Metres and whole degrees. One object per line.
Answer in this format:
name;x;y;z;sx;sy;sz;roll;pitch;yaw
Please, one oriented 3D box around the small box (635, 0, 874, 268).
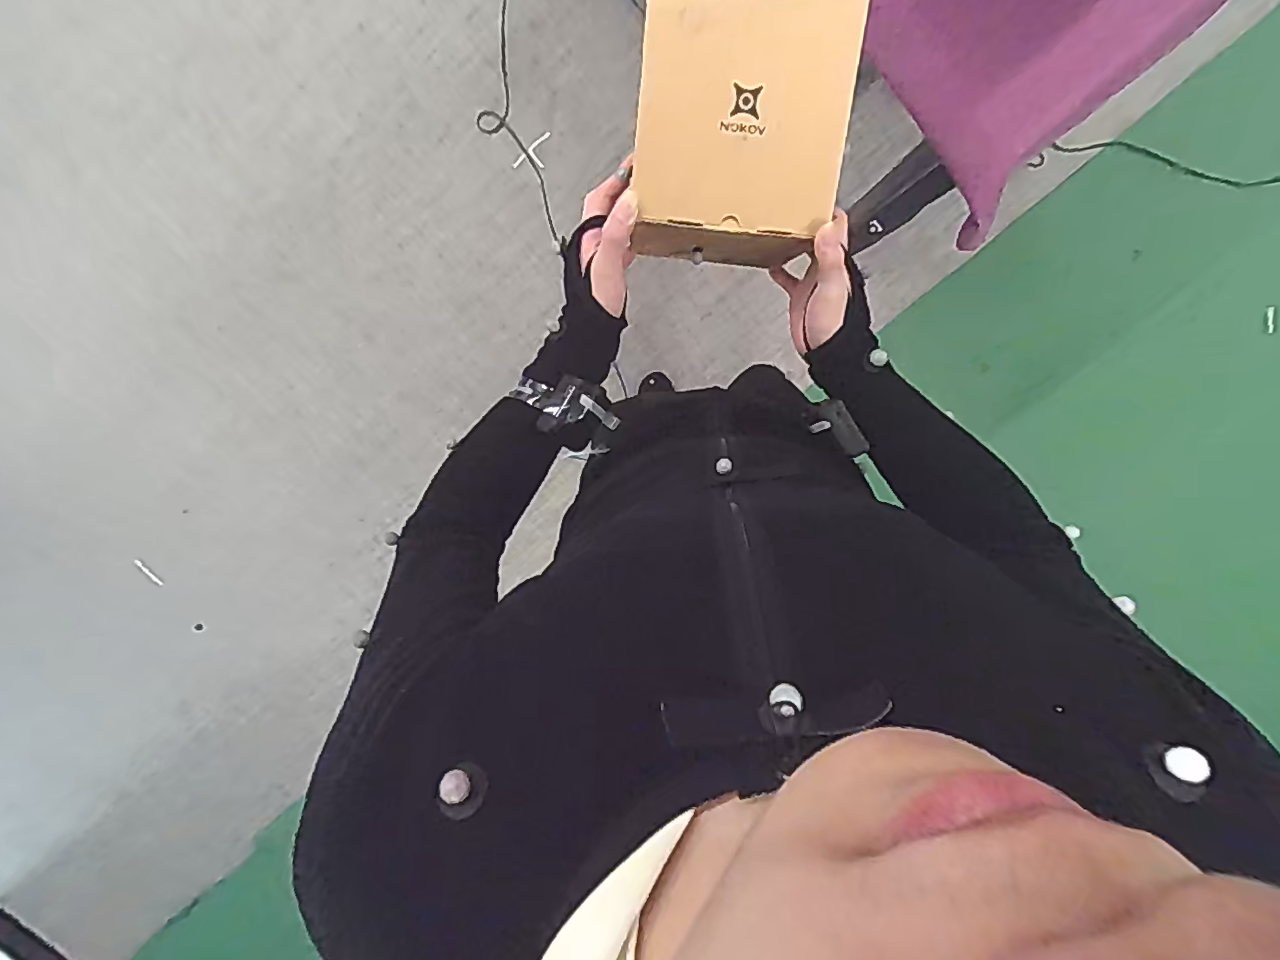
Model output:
small box;0.084;-0.303;0.494;0.168;0.176;0.179;5;105;-2
